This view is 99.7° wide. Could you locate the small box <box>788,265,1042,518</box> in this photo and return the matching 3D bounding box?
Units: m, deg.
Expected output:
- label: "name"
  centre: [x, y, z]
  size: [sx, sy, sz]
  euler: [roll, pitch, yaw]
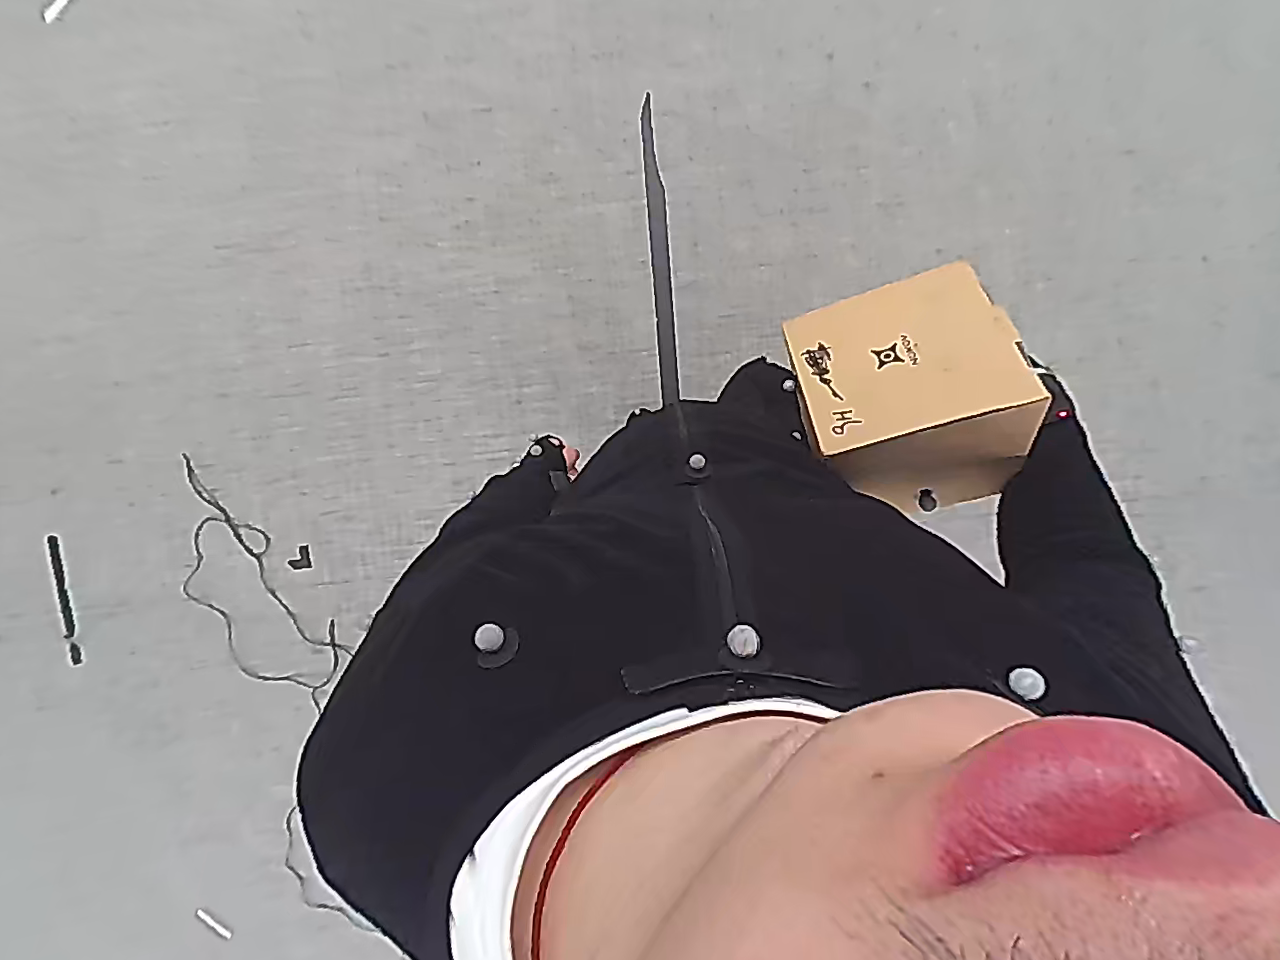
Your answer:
- label: "small box"
  centre: [0.265, -0.079, 0.560]
  size: [0.179, 0.176, 0.168]
  euler: [-15, 57, 15]
